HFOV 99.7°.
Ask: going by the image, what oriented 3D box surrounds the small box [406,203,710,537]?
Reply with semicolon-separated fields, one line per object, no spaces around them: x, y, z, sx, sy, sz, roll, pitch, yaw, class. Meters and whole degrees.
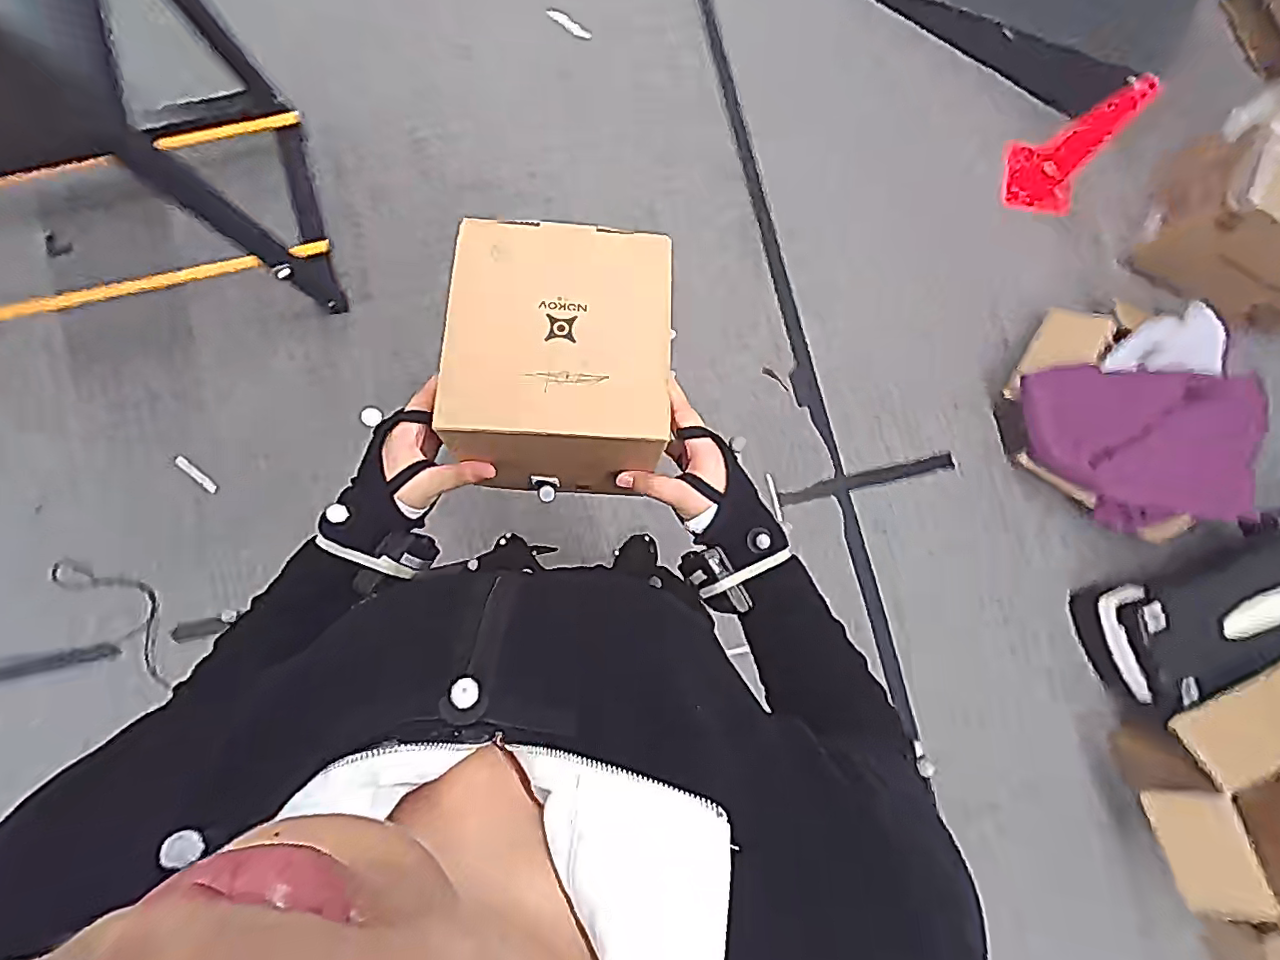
-0.050;-0.061;0.390;0.168;0.176;0.179;1;75;-5;small box
